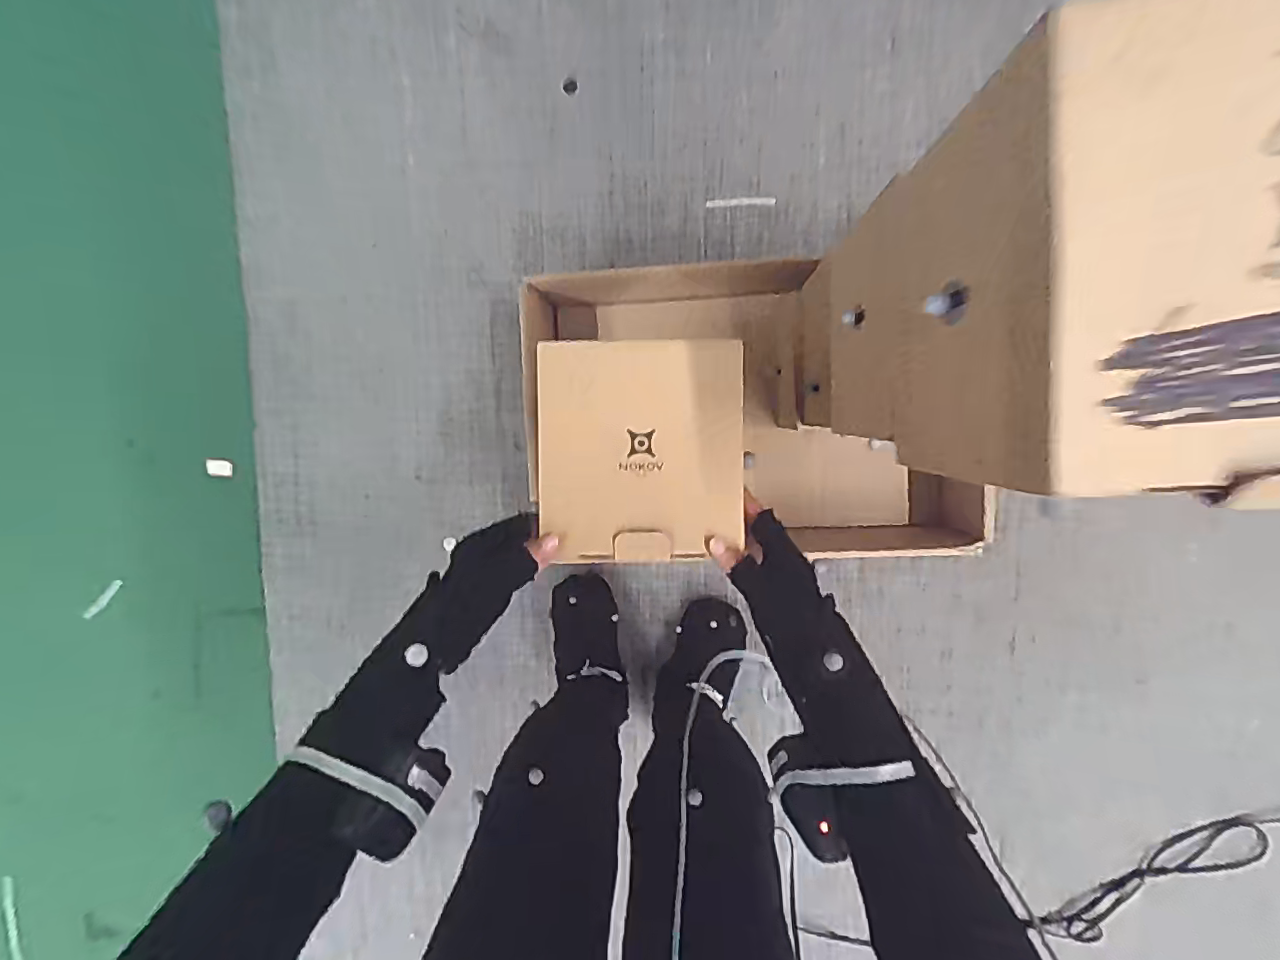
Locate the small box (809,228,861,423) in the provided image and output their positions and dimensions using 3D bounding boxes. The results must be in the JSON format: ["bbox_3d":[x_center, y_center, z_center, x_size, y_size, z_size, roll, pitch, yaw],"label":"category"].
[{"bbox_3d":[0.277,-0.153,0.565,0.168,0.176,0.179,-2,97,7],"label":"small box"}]

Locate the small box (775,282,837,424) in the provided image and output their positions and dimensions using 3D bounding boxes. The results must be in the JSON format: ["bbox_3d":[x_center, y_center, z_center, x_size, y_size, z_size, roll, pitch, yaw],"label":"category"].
[{"bbox_3d":[0.283,-0.174,0.746,0.168,0.176,0.179,-6,96,9],"label":"small box"}]

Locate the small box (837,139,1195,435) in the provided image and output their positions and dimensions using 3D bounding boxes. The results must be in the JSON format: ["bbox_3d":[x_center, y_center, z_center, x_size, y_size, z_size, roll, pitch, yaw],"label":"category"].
[{"bbox_3d":[0.259,-0.128,0.421,0.168,0.176,0.179,-1,97,6],"label":"small box"}]
